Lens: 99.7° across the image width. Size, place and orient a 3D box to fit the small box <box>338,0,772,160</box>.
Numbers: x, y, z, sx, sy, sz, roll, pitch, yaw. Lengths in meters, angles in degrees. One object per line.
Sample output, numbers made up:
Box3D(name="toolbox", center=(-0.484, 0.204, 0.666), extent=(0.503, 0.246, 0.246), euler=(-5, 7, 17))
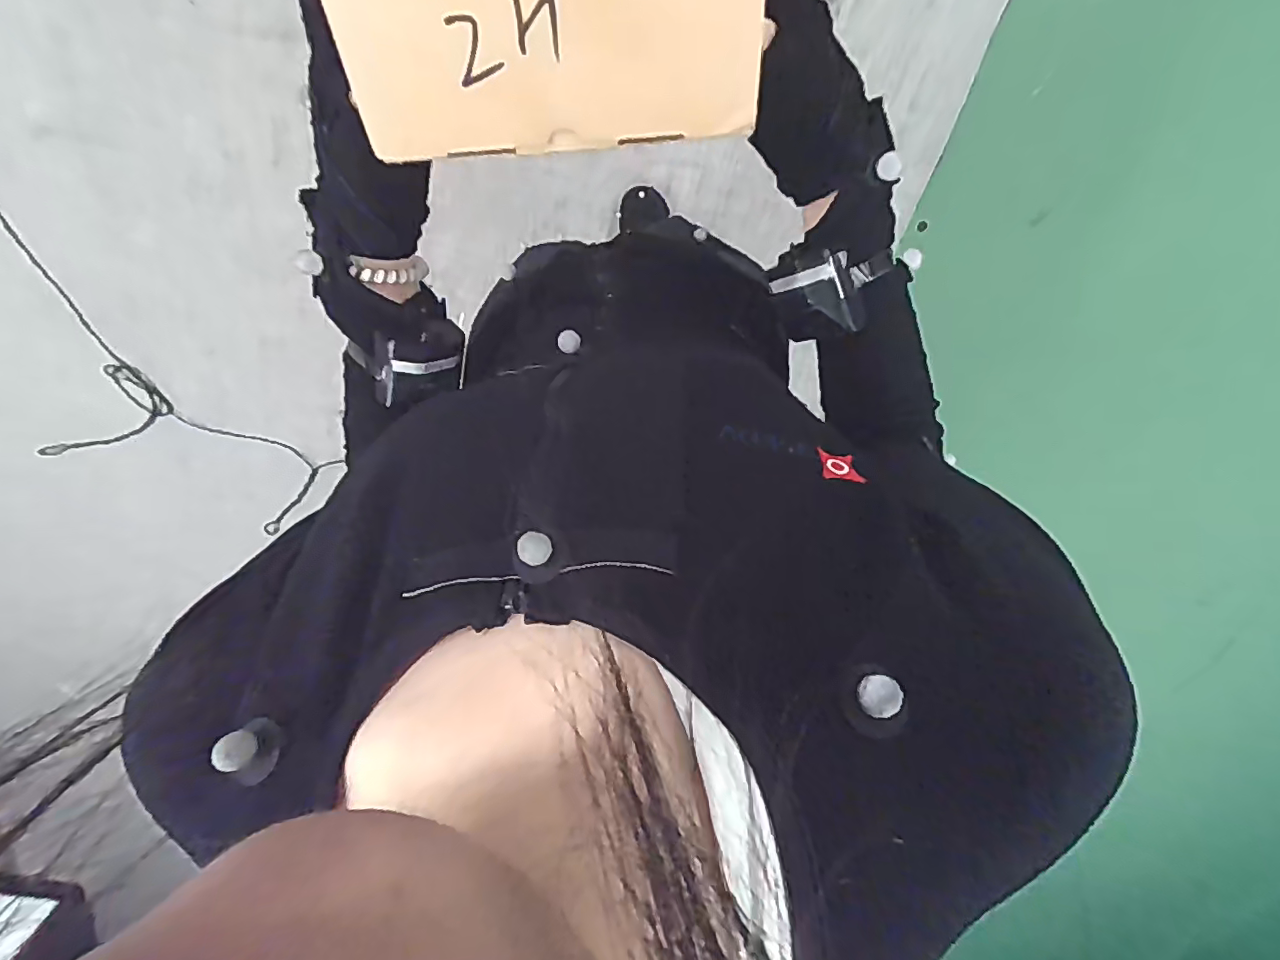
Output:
Box3D(name="small box", center=(-0.037, -0.263, 0.239), extent=(0.168, 0.176, 0.179), euler=(-5, 132, 1))
